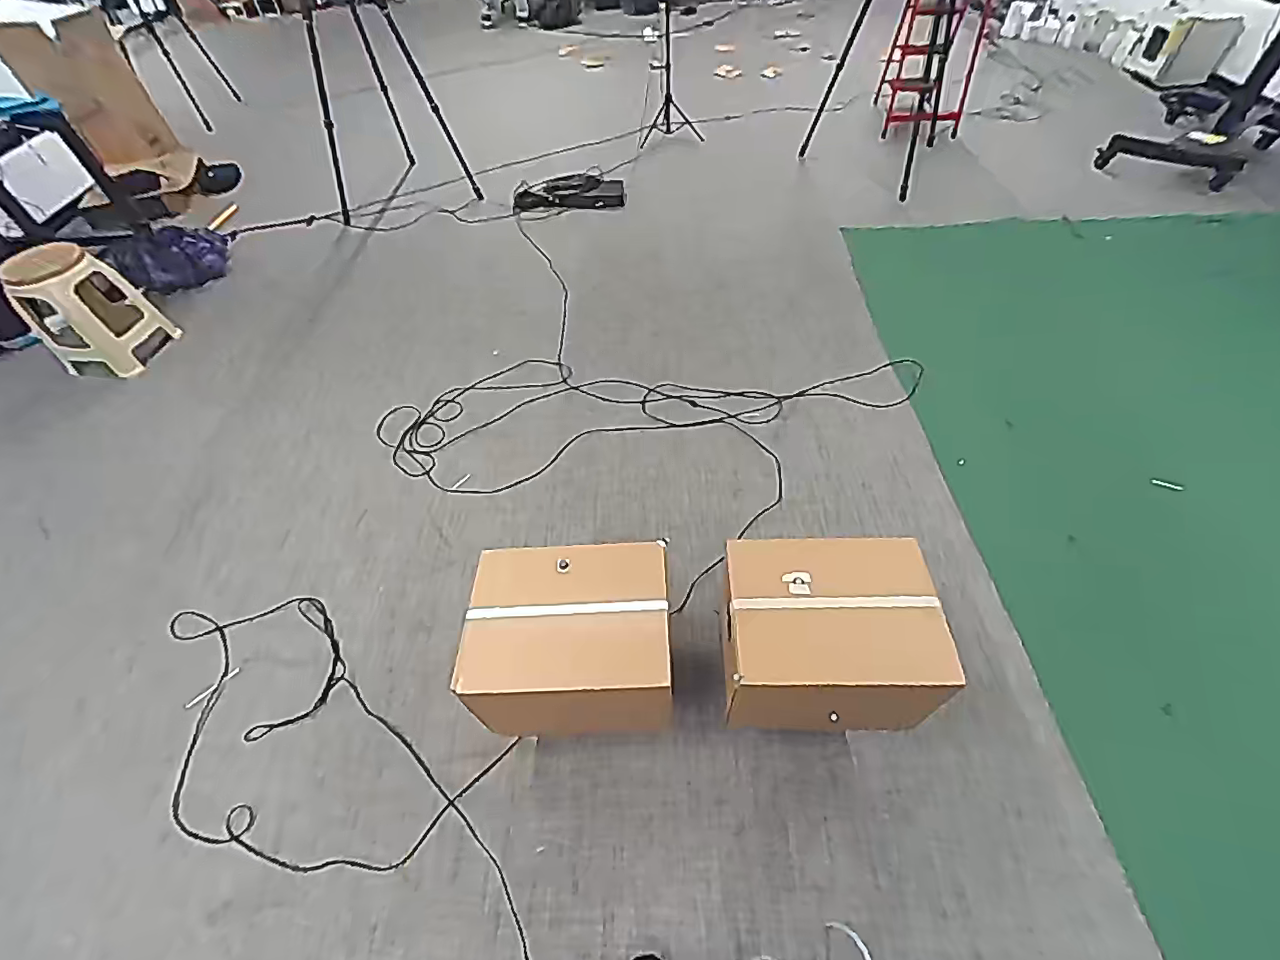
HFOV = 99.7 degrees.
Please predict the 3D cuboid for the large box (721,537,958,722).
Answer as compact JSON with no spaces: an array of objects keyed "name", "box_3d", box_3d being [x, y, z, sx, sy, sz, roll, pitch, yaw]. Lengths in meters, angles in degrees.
[{"name":"large box","box_3d":[0.397,0.340,1.200,0.408,0.320,0.320,-1,51,4]}]
